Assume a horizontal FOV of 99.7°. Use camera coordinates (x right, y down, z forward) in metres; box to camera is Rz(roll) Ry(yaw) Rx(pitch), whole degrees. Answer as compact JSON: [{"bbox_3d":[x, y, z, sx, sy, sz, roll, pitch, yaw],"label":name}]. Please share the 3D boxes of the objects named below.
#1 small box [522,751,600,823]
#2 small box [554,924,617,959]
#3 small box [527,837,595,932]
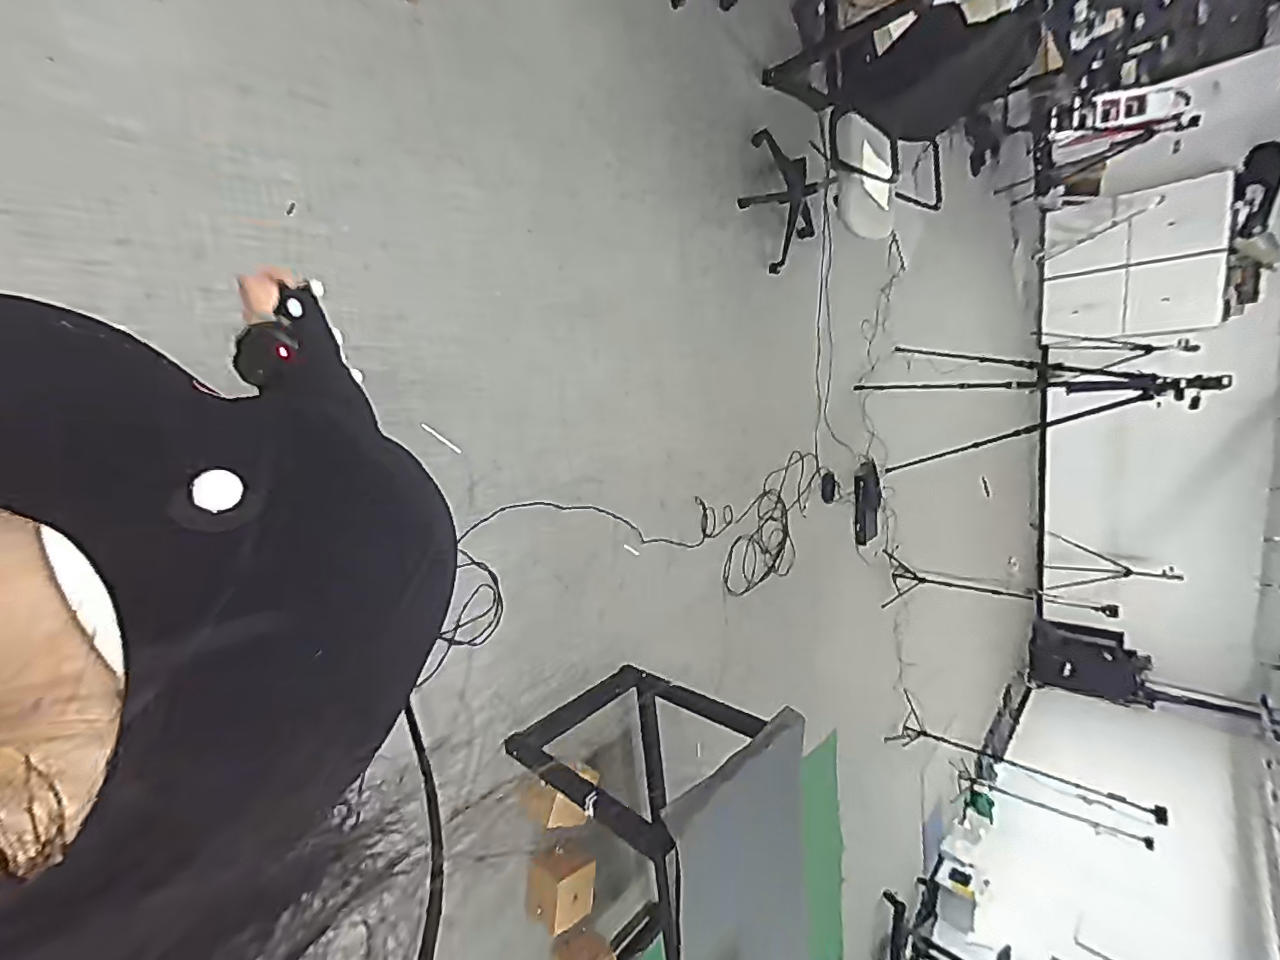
[{"bbox_3d":[-0.274,1.043,1.844,0.179,0.176,0.168,30,71,-43],"label":"small box"},{"bbox_3d":[-0.198,1.767,1.959,0.168,0.176,0.179,-8,99,-45],"label":"small box"},{"bbox_3d":[-0.273,1.383,1.862,0.168,0.176,0.179,4,88,-47],"label":"small box"}]
